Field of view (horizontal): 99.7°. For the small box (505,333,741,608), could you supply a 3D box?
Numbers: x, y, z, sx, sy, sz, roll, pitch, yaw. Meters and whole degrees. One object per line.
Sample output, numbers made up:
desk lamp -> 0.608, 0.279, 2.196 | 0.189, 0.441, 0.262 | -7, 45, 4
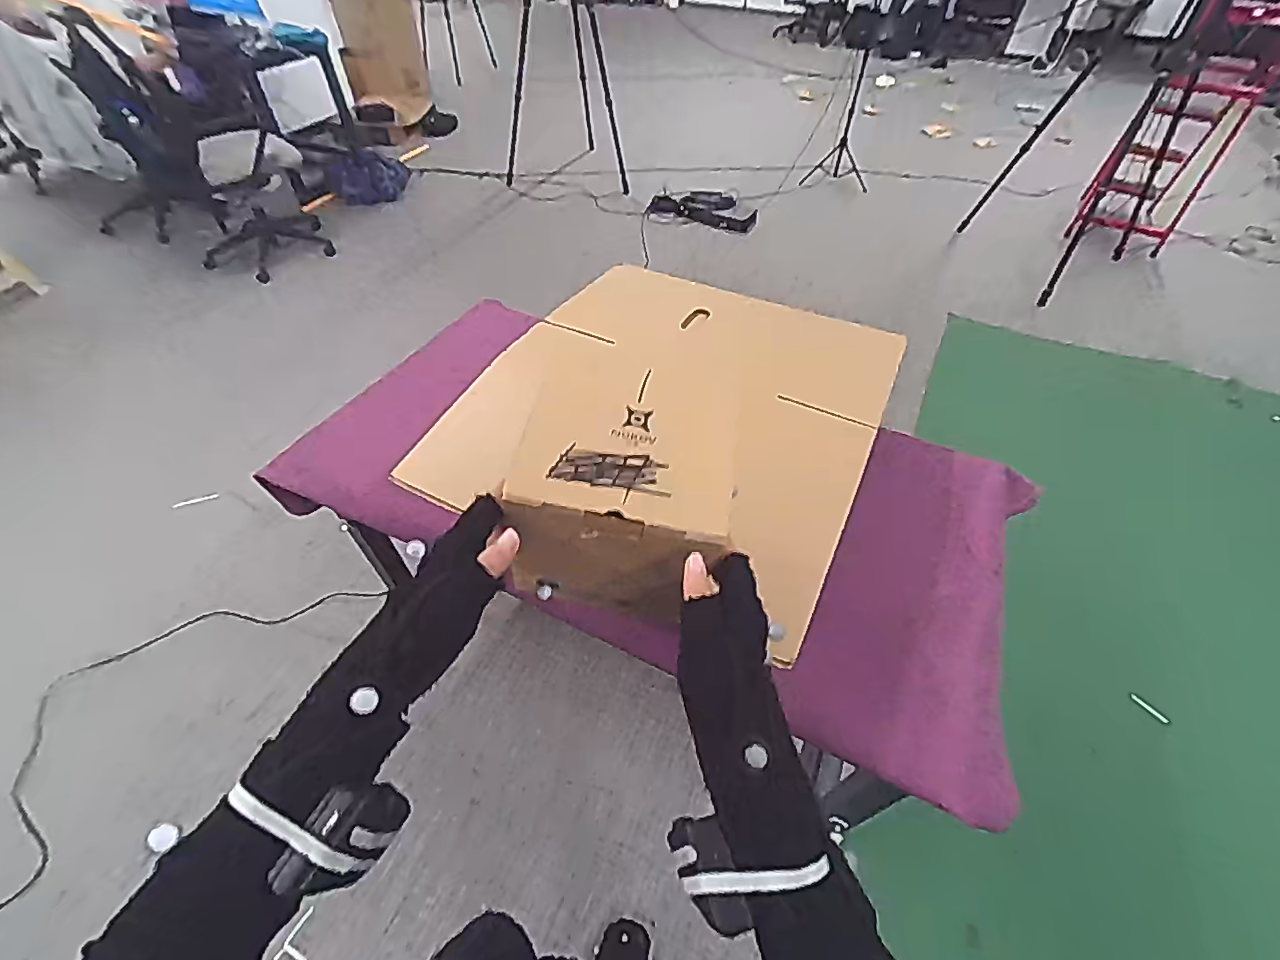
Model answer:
small box -> -0.012, -0.001, 0.498 | 0.168, 0.176, 0.179 | 11, 55, 0
